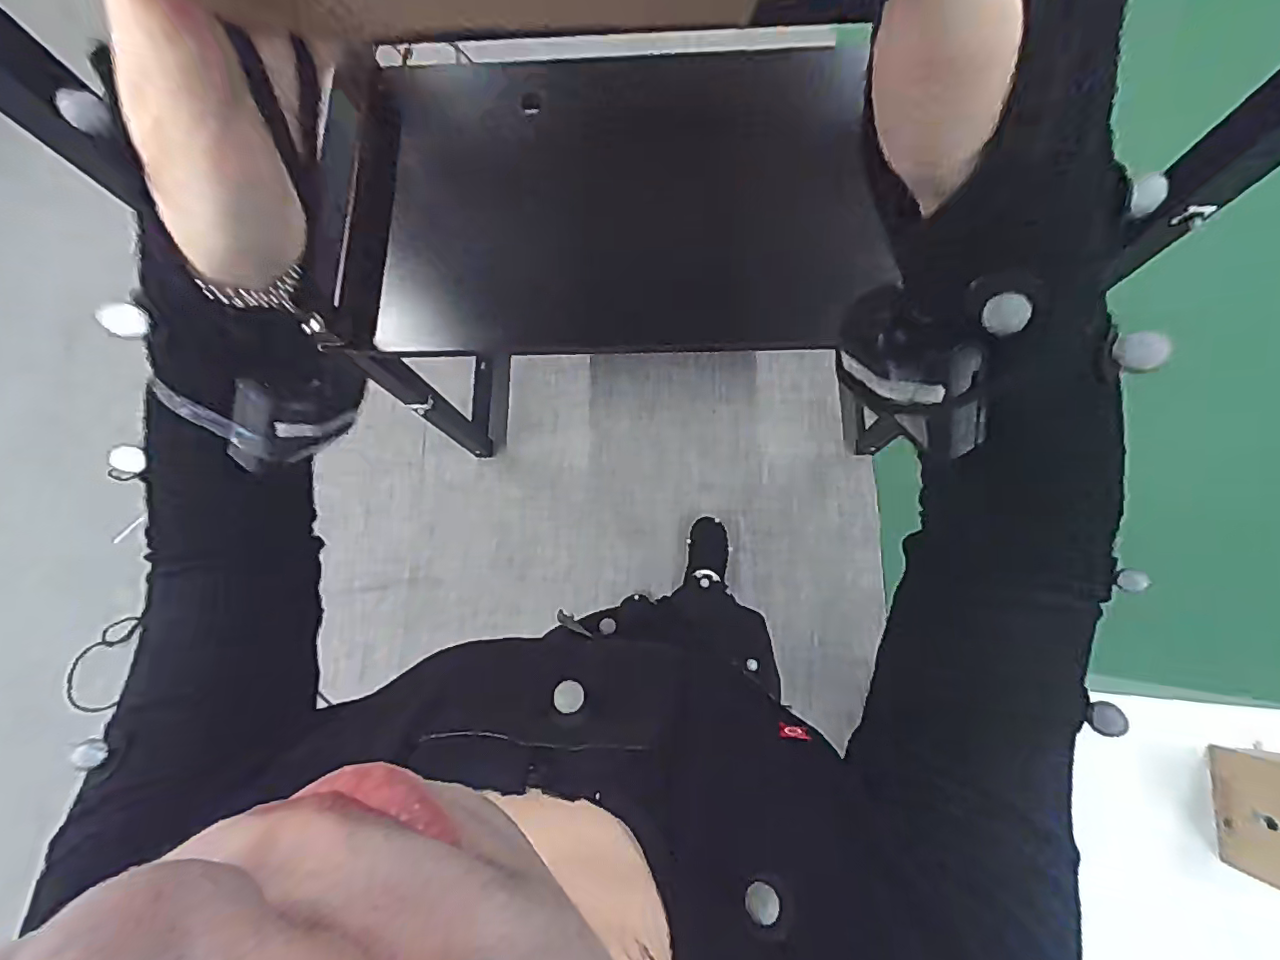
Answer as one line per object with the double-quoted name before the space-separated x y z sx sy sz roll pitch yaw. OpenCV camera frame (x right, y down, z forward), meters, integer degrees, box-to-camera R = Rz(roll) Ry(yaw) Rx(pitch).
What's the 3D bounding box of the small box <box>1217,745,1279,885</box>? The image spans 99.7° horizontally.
"small box" 0.933 0.467 0.720 0.179 0.176 0.168 5 78 5
